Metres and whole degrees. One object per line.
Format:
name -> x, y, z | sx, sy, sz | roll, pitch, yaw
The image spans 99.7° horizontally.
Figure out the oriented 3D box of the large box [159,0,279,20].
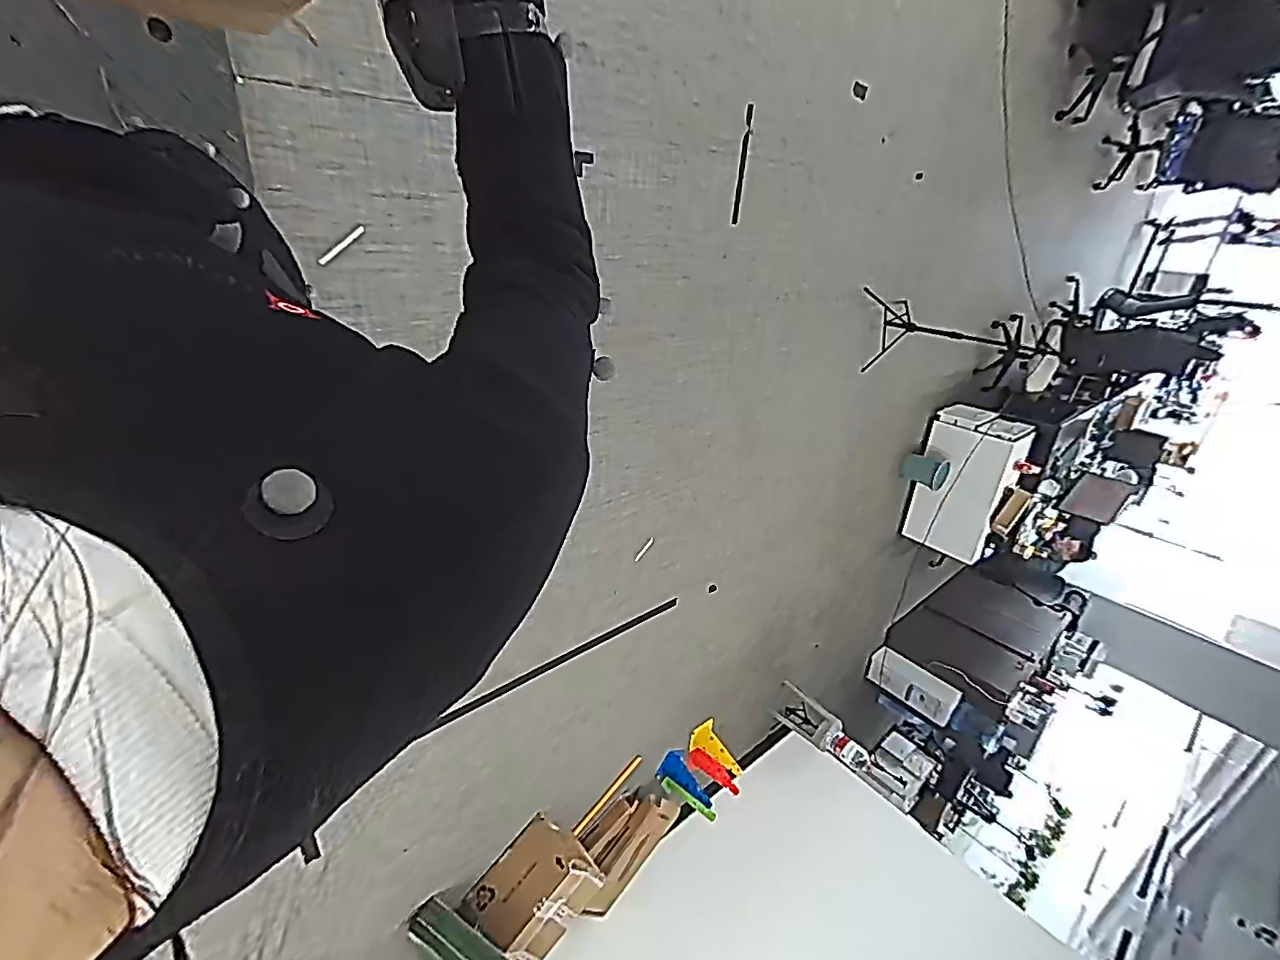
large box -> -0.371, -0.419, 0.183 | 0.408, 0.320, 0.320 | -18, 126, -37
